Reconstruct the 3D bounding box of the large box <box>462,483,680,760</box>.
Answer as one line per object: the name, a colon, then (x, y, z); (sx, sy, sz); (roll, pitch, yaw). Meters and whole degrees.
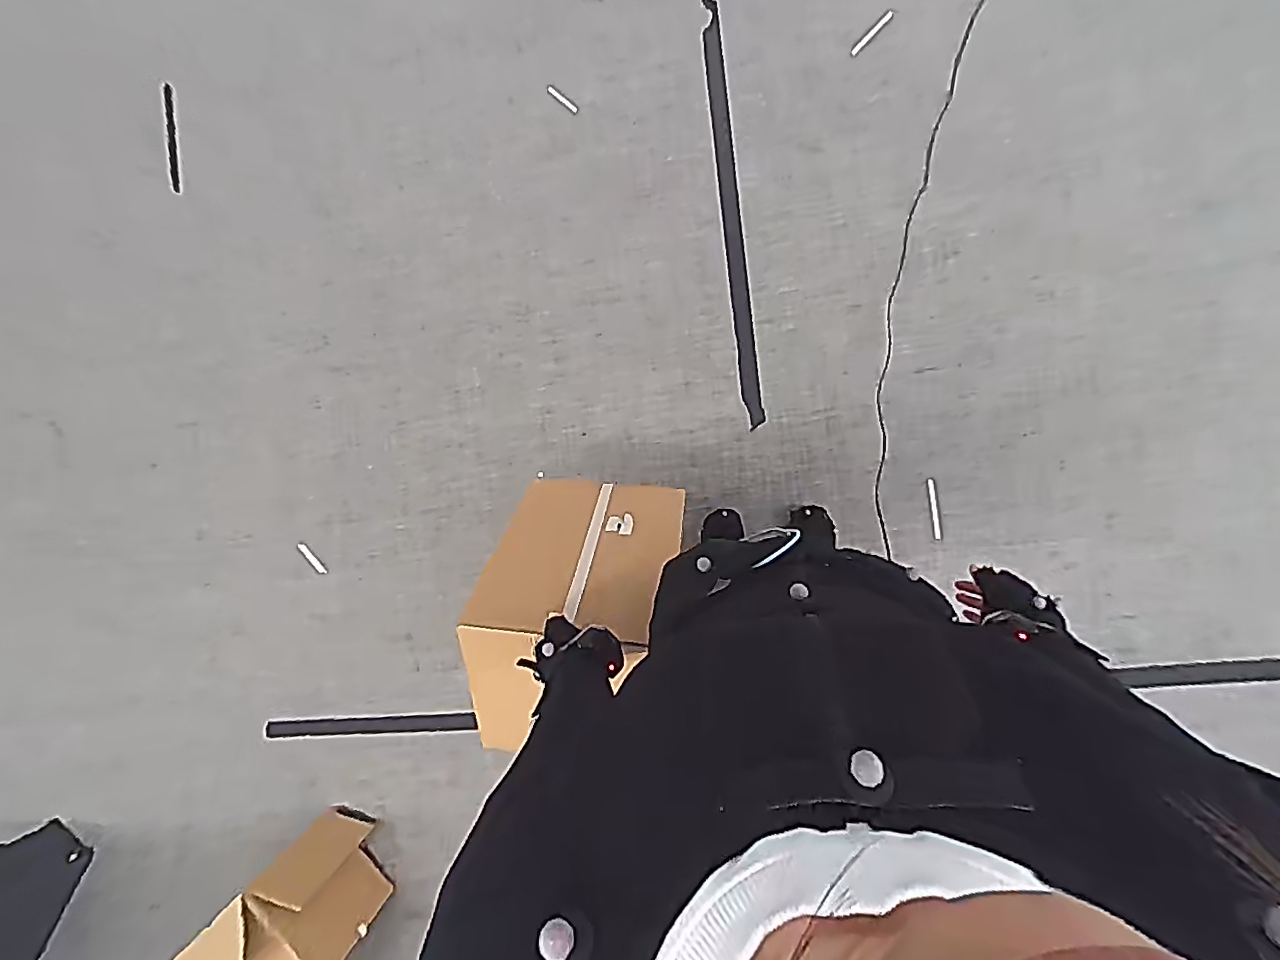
large box: (-0.095, 0.248, 1.027); (0.320, 0.408, 0.320); (6, 122, 5)
